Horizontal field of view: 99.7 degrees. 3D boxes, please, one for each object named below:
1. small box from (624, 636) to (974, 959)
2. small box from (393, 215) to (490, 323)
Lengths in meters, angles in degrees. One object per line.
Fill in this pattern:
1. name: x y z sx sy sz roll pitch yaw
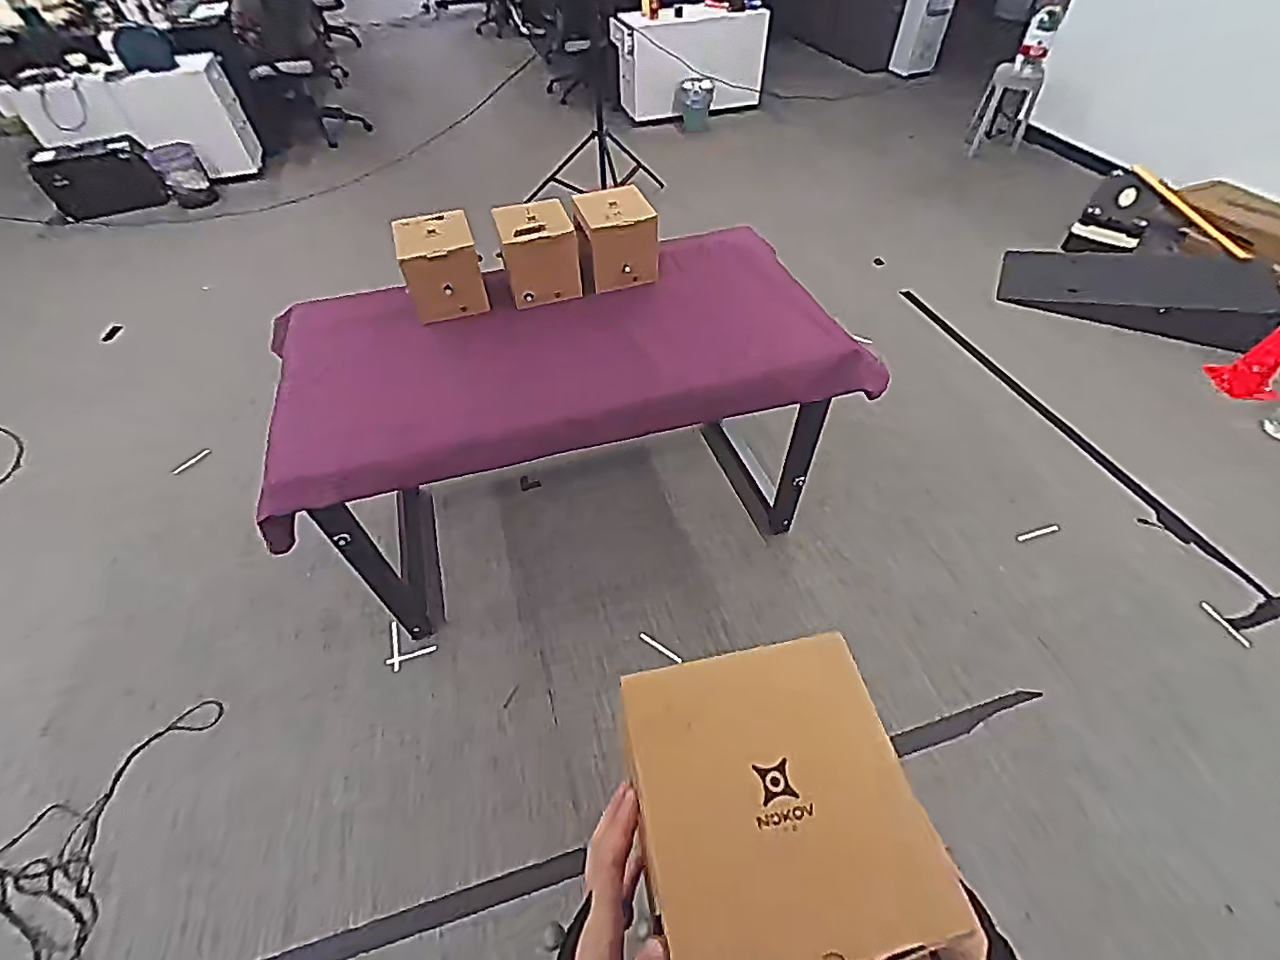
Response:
1. small box: 0.083 0.240 0.394 0.168 0.176 0.179 -8 53 -9
2. small box: -0.463 -0.489 1.274 0.168 0.176 0.179 -16 54 -11
